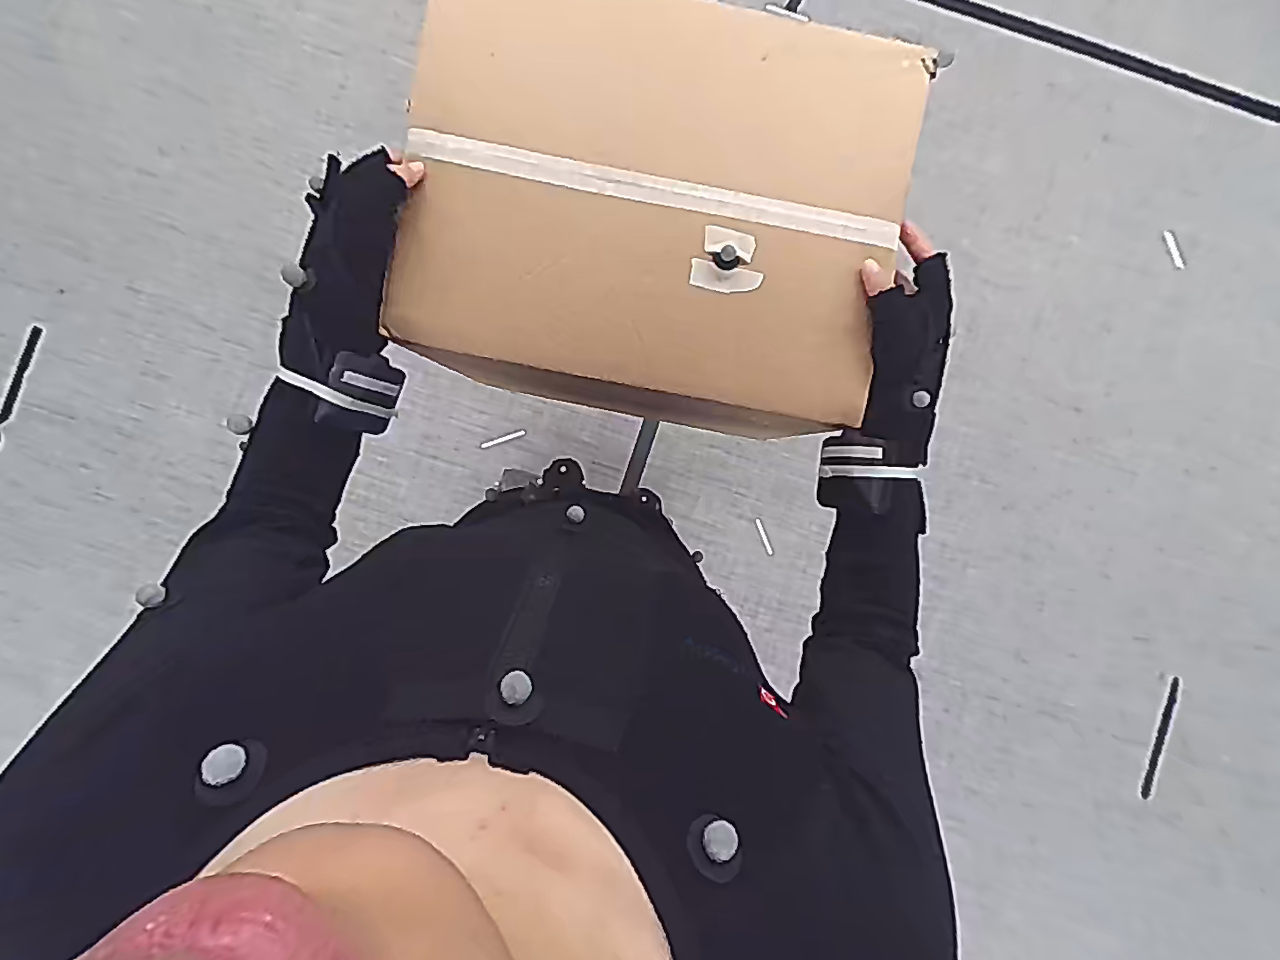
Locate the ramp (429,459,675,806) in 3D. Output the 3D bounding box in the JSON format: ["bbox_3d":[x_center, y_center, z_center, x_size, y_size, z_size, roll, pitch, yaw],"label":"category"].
[{"bbox_3d":[-0.272,0.475,1.581,0.509,0.206,0.991,16,90,-2],"label":"ramp"}]

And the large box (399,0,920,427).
[{"bbox_3d":[0.011,-0.251,0.601,0.408,0.320,0.320,11,93,-2],"label":"large box"}]
